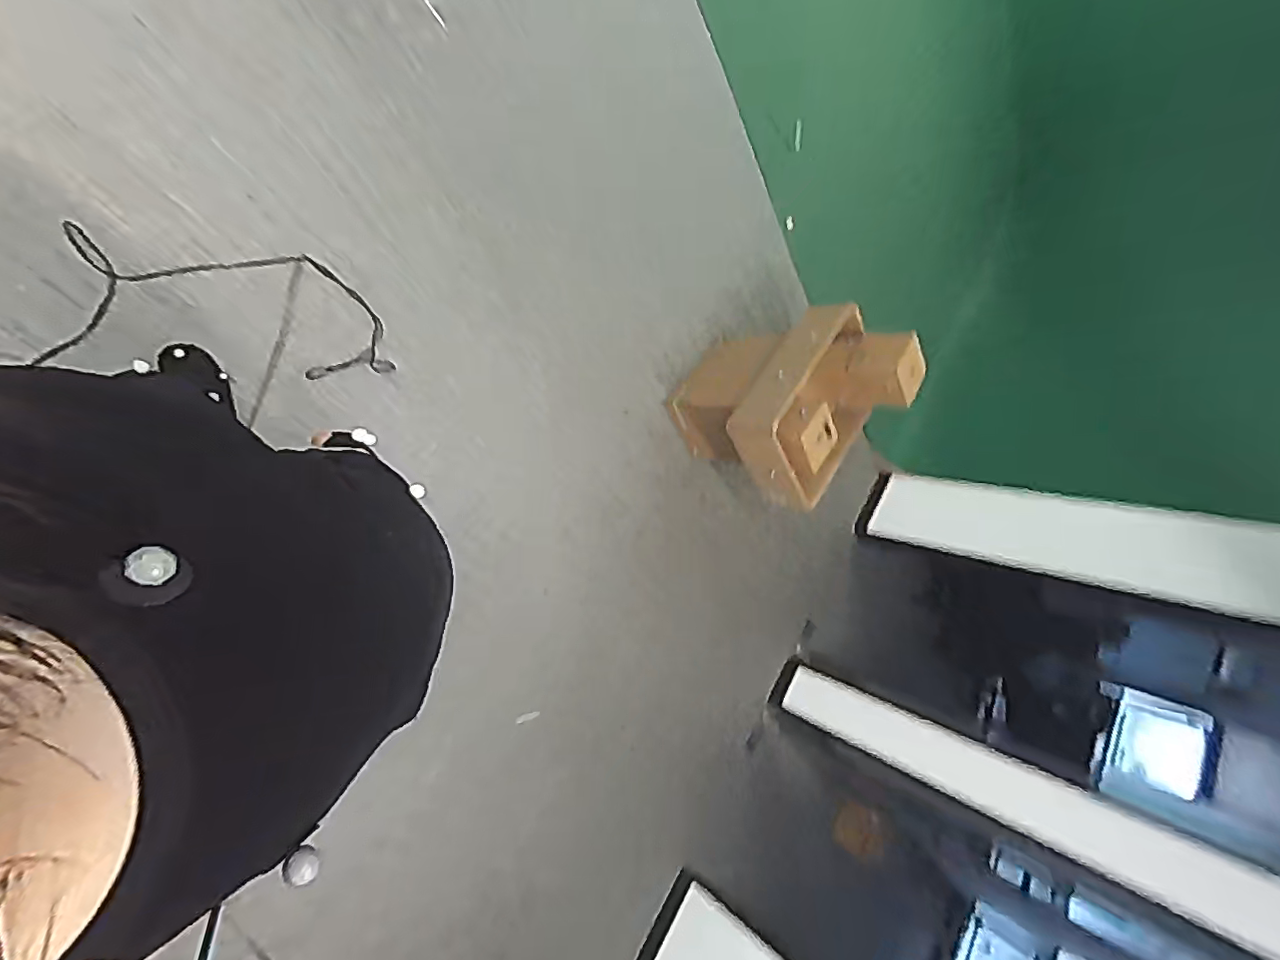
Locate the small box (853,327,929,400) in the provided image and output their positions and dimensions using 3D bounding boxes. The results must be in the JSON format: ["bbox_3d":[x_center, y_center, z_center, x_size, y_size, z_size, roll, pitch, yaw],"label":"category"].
[{"bbox_3d":[0.833,-0.386,1.801,0.168,0.176,0.179,-56,131,-18],"label":"small box"}]
